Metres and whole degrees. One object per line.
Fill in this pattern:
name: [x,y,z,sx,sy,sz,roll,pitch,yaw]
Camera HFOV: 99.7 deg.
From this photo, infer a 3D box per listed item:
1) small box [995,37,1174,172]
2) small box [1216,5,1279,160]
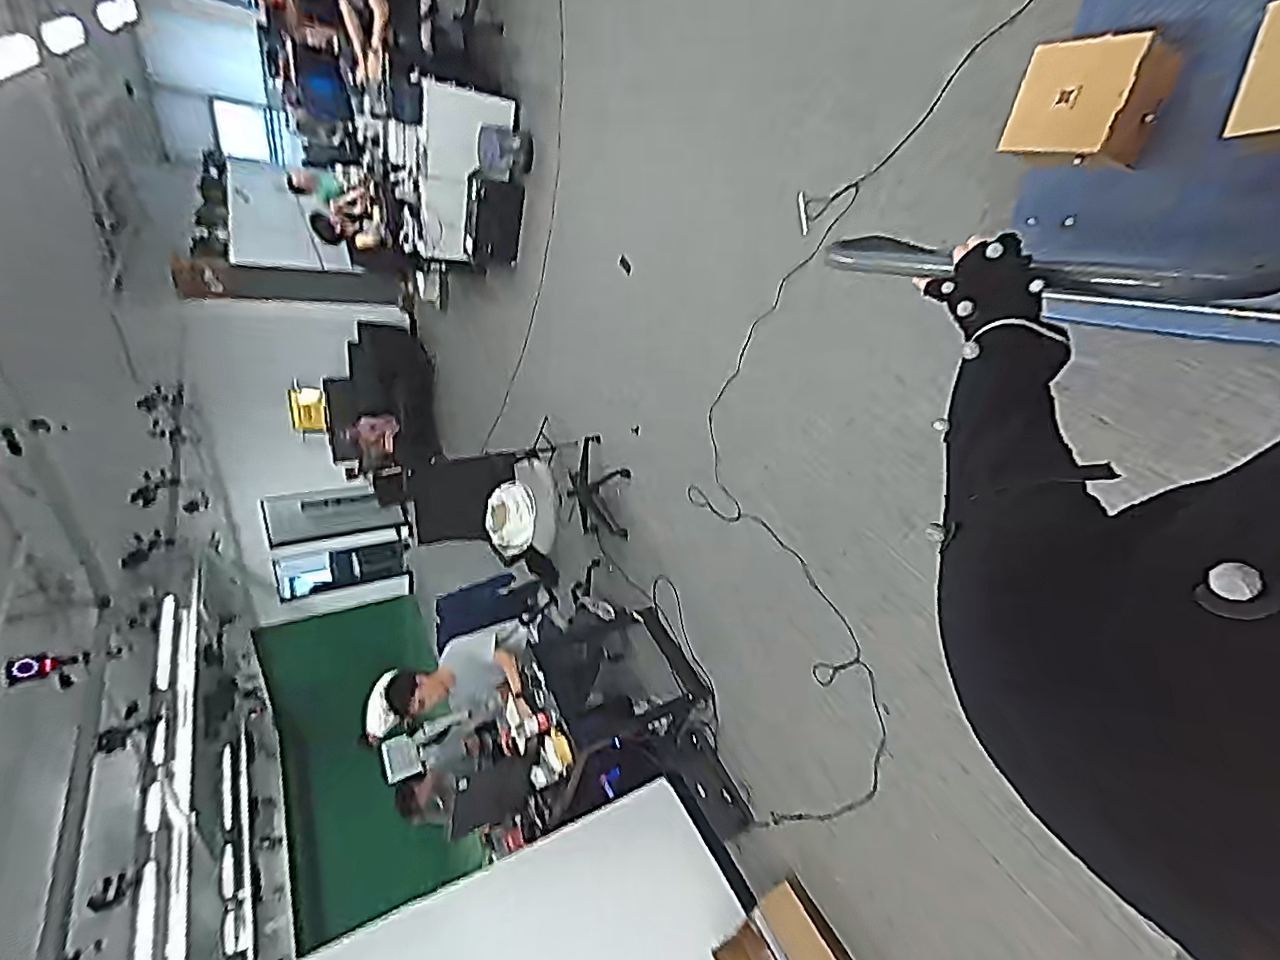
small box: [0.805,-0.669,0.985,0.179,0.176,0.168,38,128,45]
small box: [0.972,-0.560,0.749,0.179,0.176,0.168,29,121,52]
